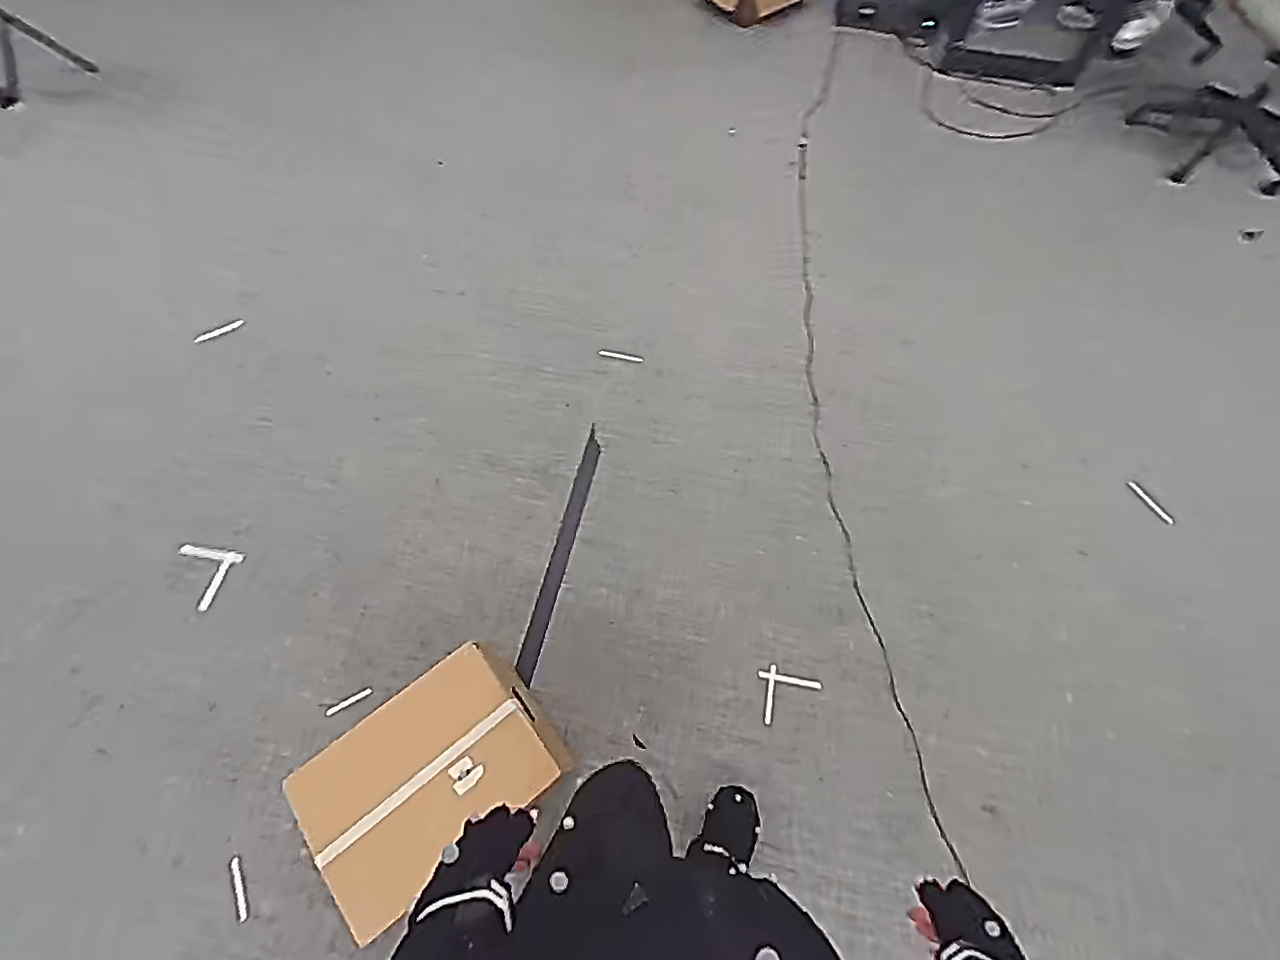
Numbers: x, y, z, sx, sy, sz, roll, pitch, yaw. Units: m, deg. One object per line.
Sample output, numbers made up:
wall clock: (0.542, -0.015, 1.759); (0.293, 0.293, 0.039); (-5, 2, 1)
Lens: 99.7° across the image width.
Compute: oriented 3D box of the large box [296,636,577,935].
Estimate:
large box: (-0.389, 0.602, 1.129); (0.408, 0.320, 0.320); (-36, 71, -17)
